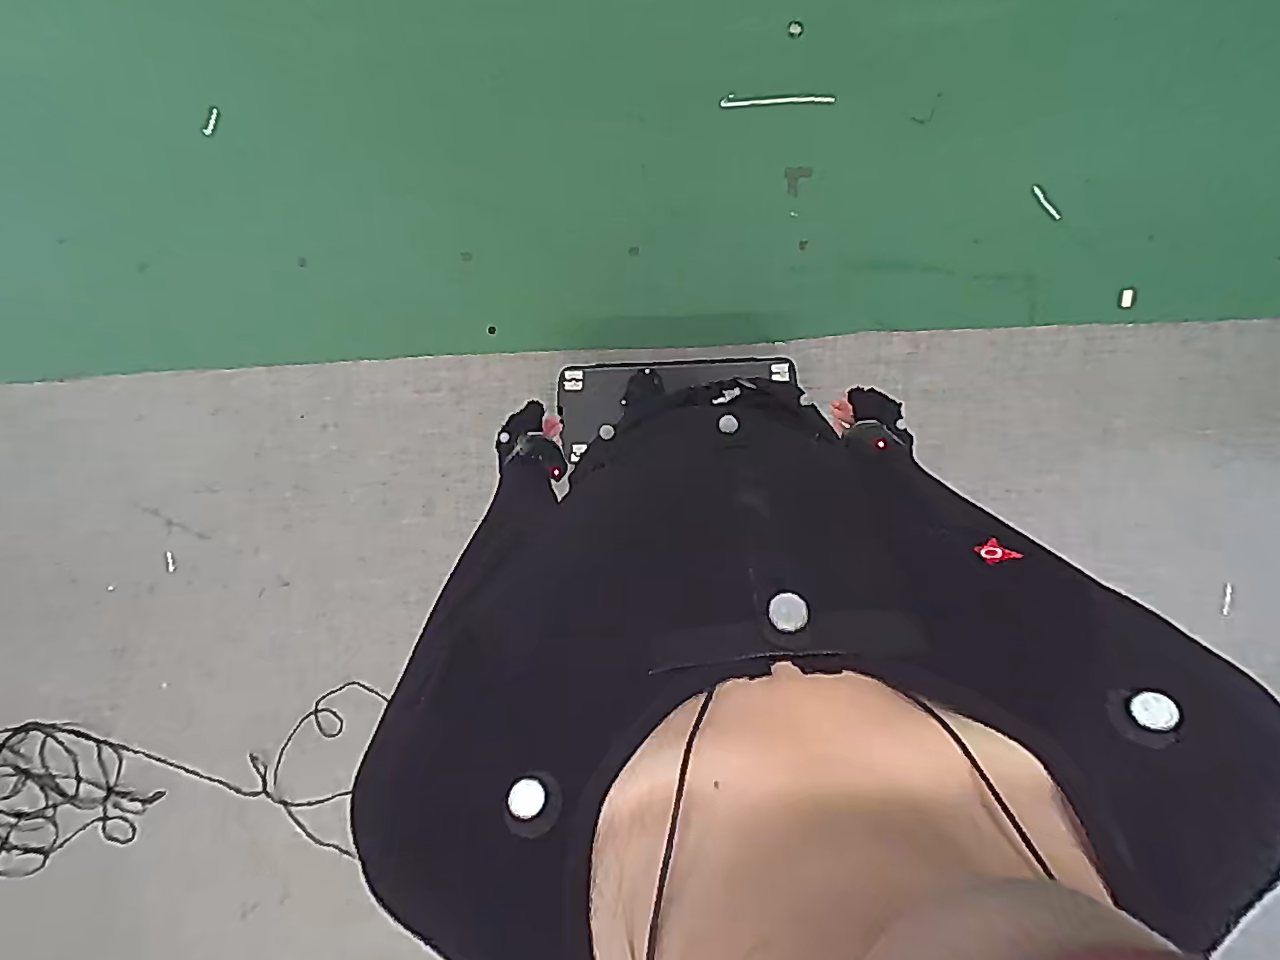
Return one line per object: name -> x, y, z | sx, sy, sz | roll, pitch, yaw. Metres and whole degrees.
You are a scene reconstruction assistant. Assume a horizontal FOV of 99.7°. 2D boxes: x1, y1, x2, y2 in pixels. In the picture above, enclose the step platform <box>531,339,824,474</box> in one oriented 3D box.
step platform -> 0.089, -0.185, 1.352 | 0.684, 0.204, 0.286 | -3, 100, 2
